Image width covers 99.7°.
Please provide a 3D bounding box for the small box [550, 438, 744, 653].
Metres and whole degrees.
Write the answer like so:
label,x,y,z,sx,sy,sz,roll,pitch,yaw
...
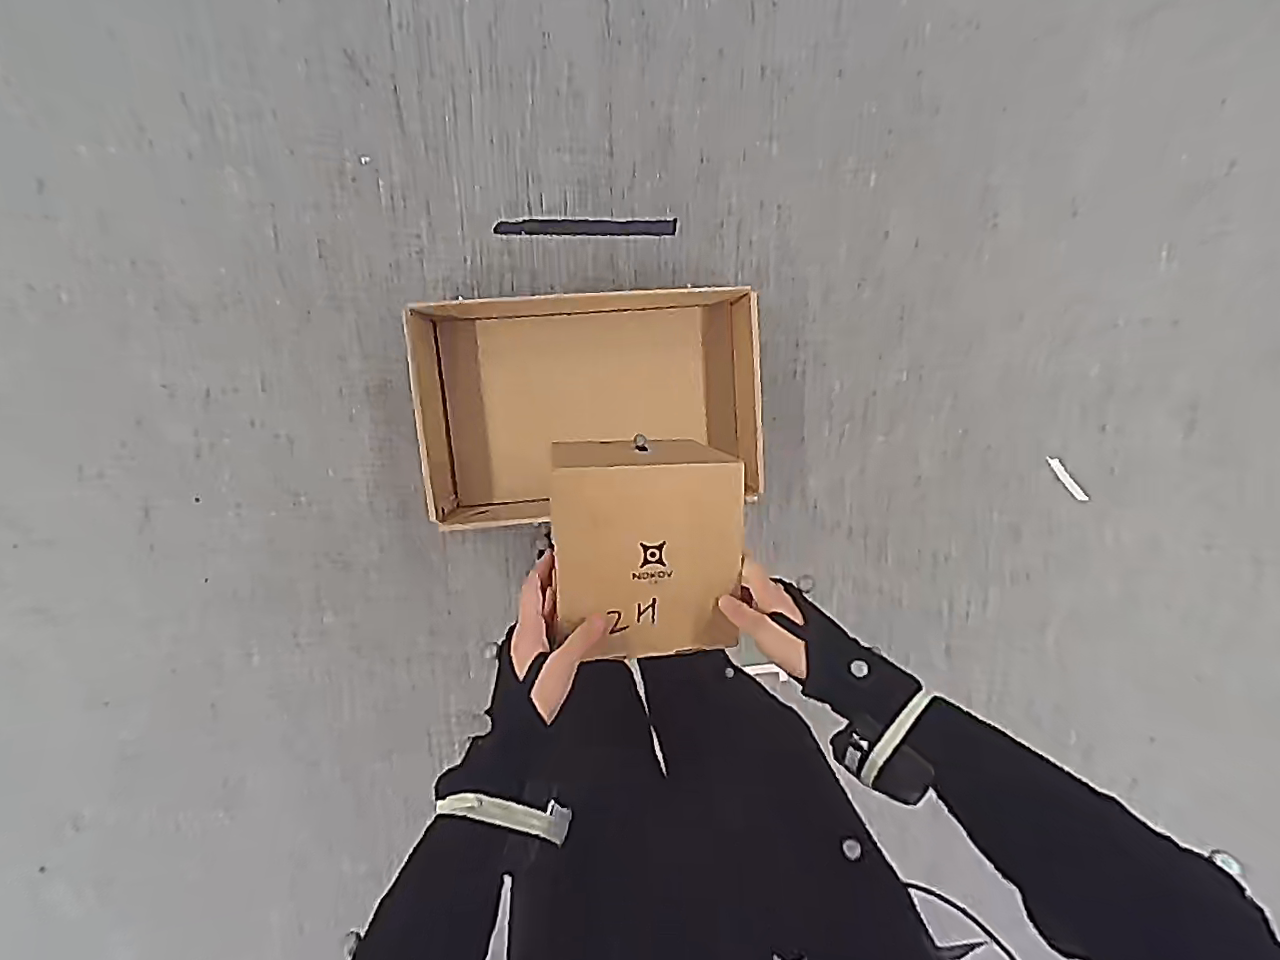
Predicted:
label,x,y,z,sx,sy,sz,roll,pitch,yaw
small box,-0.005,0.050,0.548,0.168,0.176,0.179,-1,102,-10
